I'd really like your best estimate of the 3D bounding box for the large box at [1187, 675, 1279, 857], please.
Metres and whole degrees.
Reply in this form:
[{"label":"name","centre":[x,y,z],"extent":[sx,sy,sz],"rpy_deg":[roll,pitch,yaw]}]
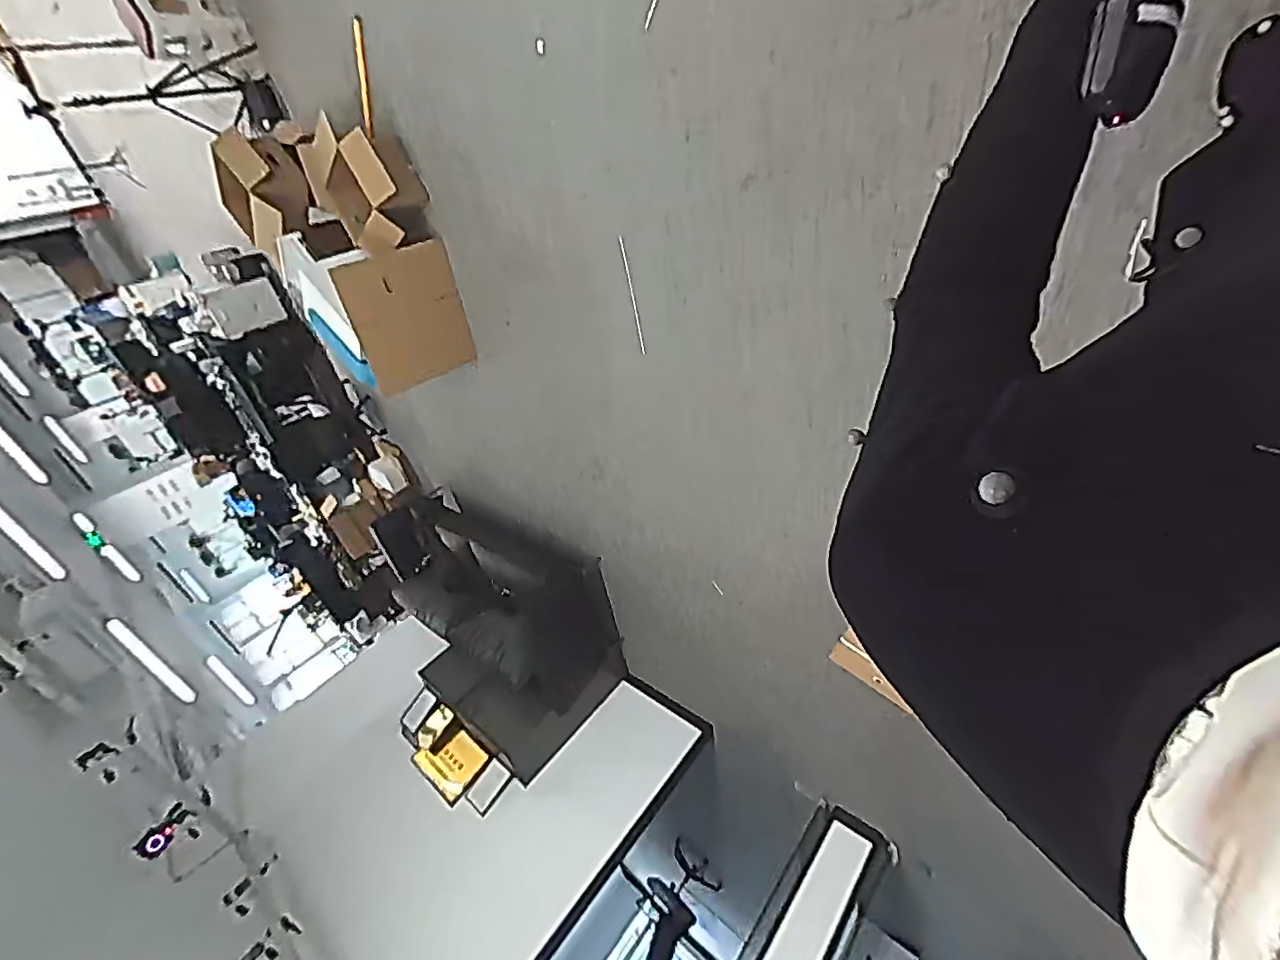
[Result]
[{"label":"large box","centre":[1.657,0.696,1.300],"extent":[0.320,0.320,0.408],"rpy_deg":[55,144,-6]}]
